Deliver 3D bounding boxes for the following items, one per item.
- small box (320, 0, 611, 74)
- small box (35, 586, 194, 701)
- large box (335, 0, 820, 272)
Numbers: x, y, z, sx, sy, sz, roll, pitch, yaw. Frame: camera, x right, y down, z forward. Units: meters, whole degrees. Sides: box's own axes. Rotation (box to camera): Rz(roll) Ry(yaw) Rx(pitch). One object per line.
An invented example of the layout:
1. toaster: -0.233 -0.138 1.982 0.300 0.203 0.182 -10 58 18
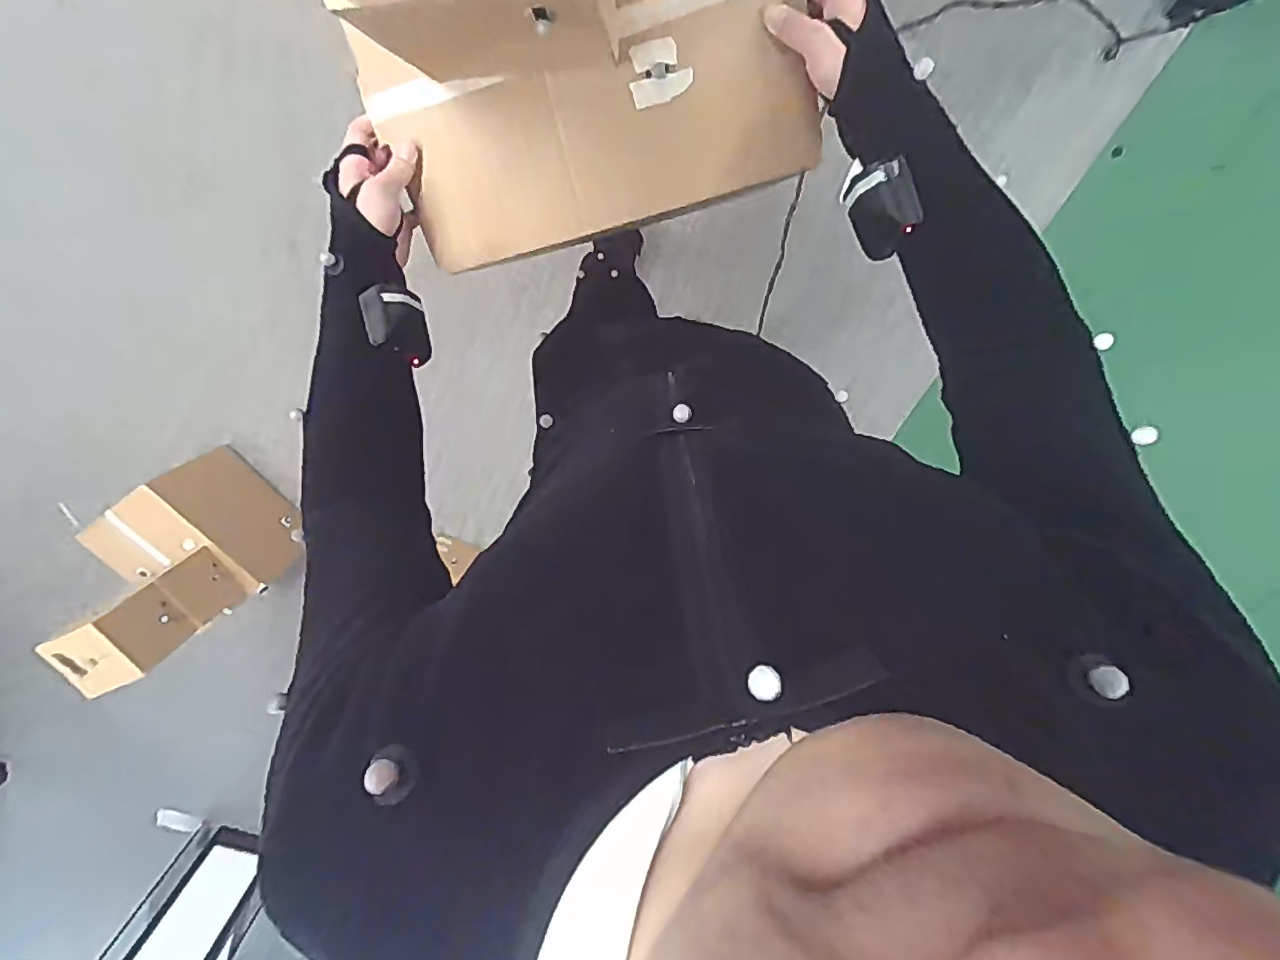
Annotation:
1. small box: -0.119 -0.407 0.376 0.179 0.176 0.168 -2 114 3
2. small box: -1.237 0.384 1.289 0.179 0.176 0.168 -22 112 9
3. large box: -0.055 -0.458 0.617 0.408 0.320 0.320 -13 114 8
